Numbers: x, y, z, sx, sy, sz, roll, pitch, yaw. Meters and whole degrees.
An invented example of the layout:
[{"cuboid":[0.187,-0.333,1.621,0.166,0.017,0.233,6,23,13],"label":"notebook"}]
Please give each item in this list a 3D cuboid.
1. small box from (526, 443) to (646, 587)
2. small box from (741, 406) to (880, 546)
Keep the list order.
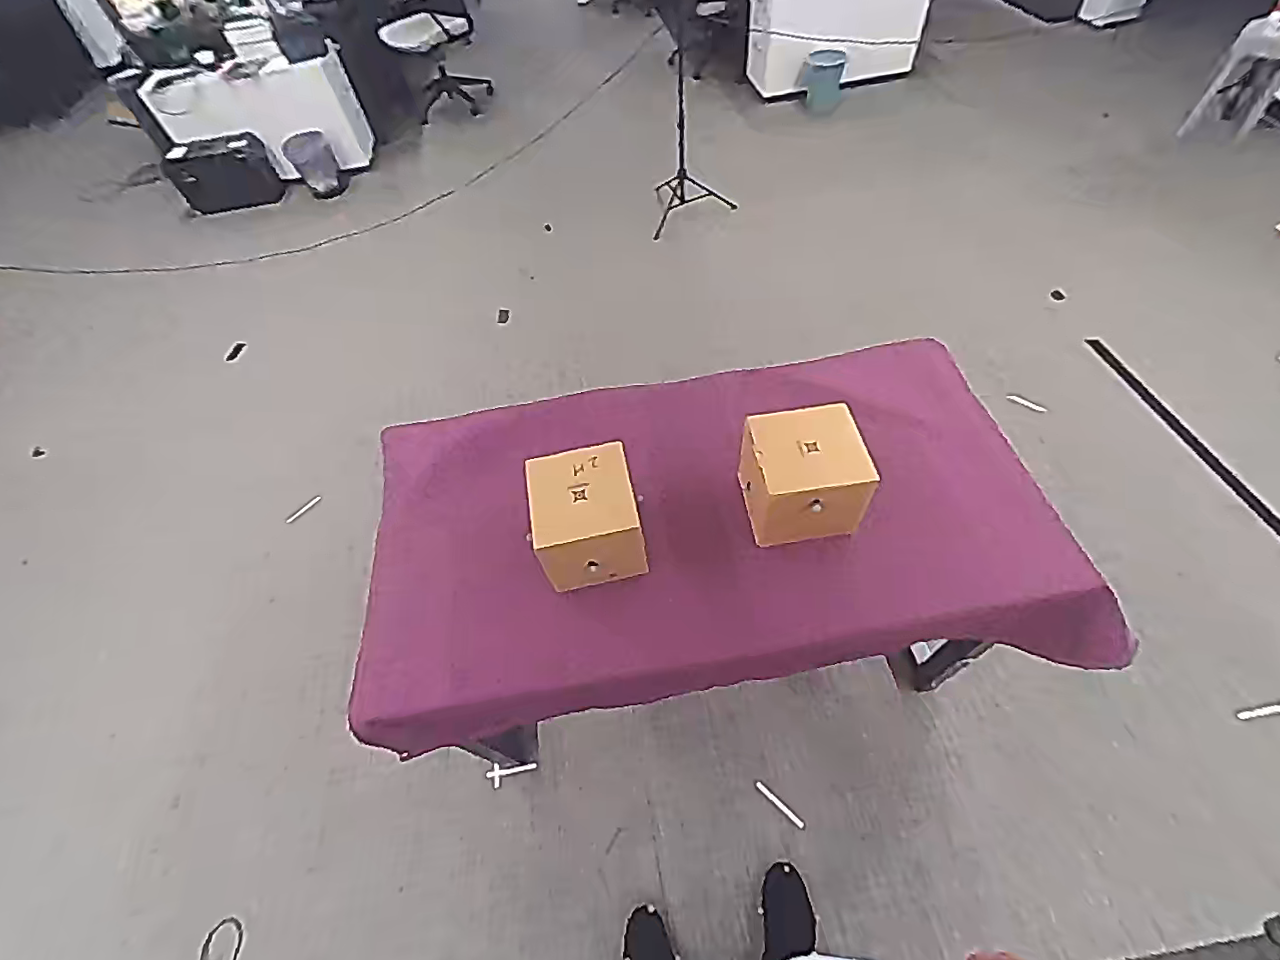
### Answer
[{"cuboid":[-0.089,0.068,0.920,0.168,0.176,0.179,-11,55,-3],"label":"small box"},{"cuboid":[0.280,-0.003,0.933,0.179,0.176,0.168,-9,55,1],"label":"small box"}]
